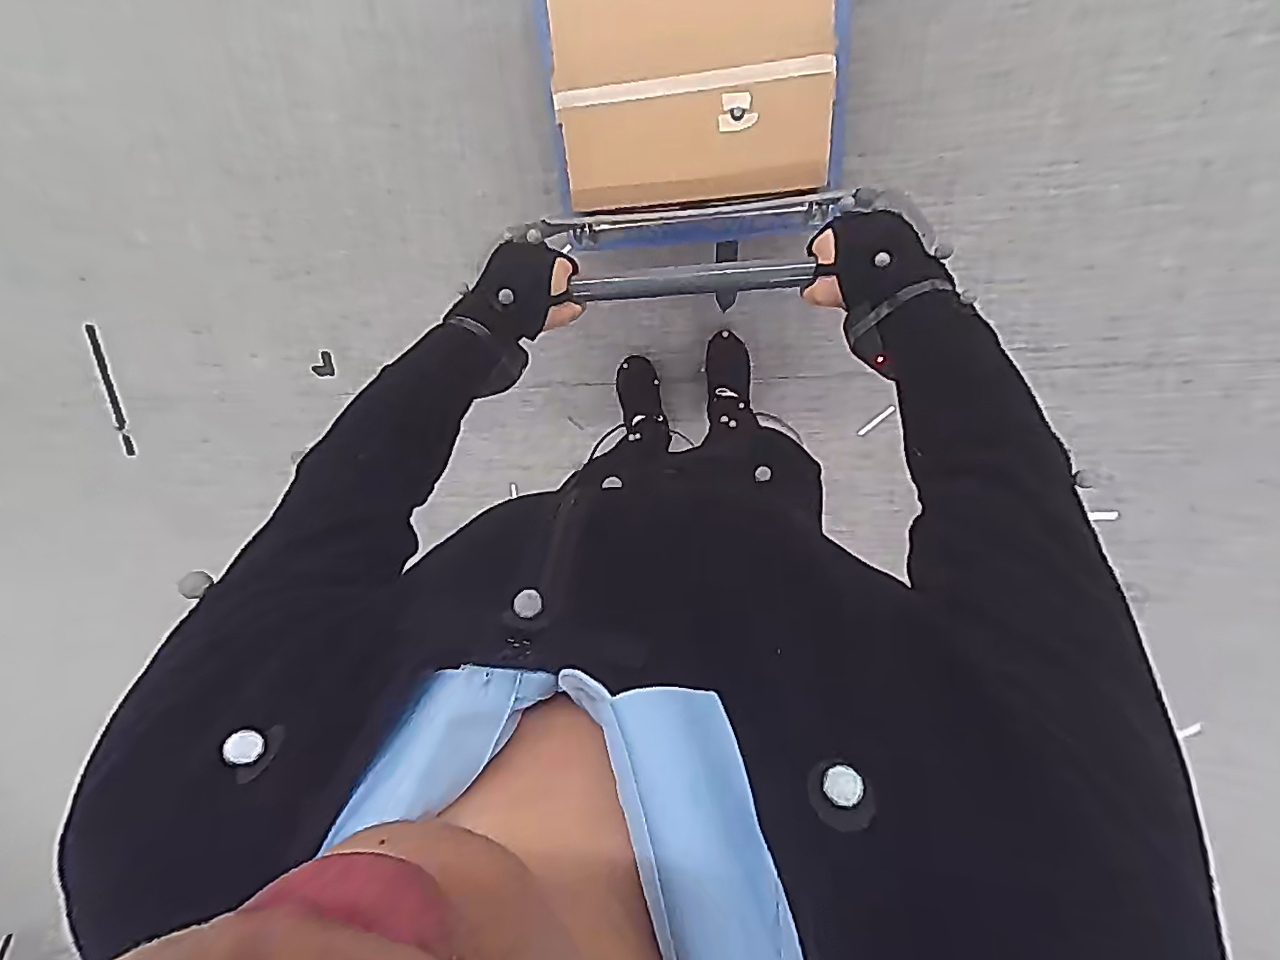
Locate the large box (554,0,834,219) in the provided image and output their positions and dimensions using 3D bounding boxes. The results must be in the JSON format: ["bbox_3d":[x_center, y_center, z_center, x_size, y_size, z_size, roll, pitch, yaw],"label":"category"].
[{"bbox_3d":[0.096,-0.654,0.950,0.408,0.320,0.320,-2,115,7],"label":"large box"}]
